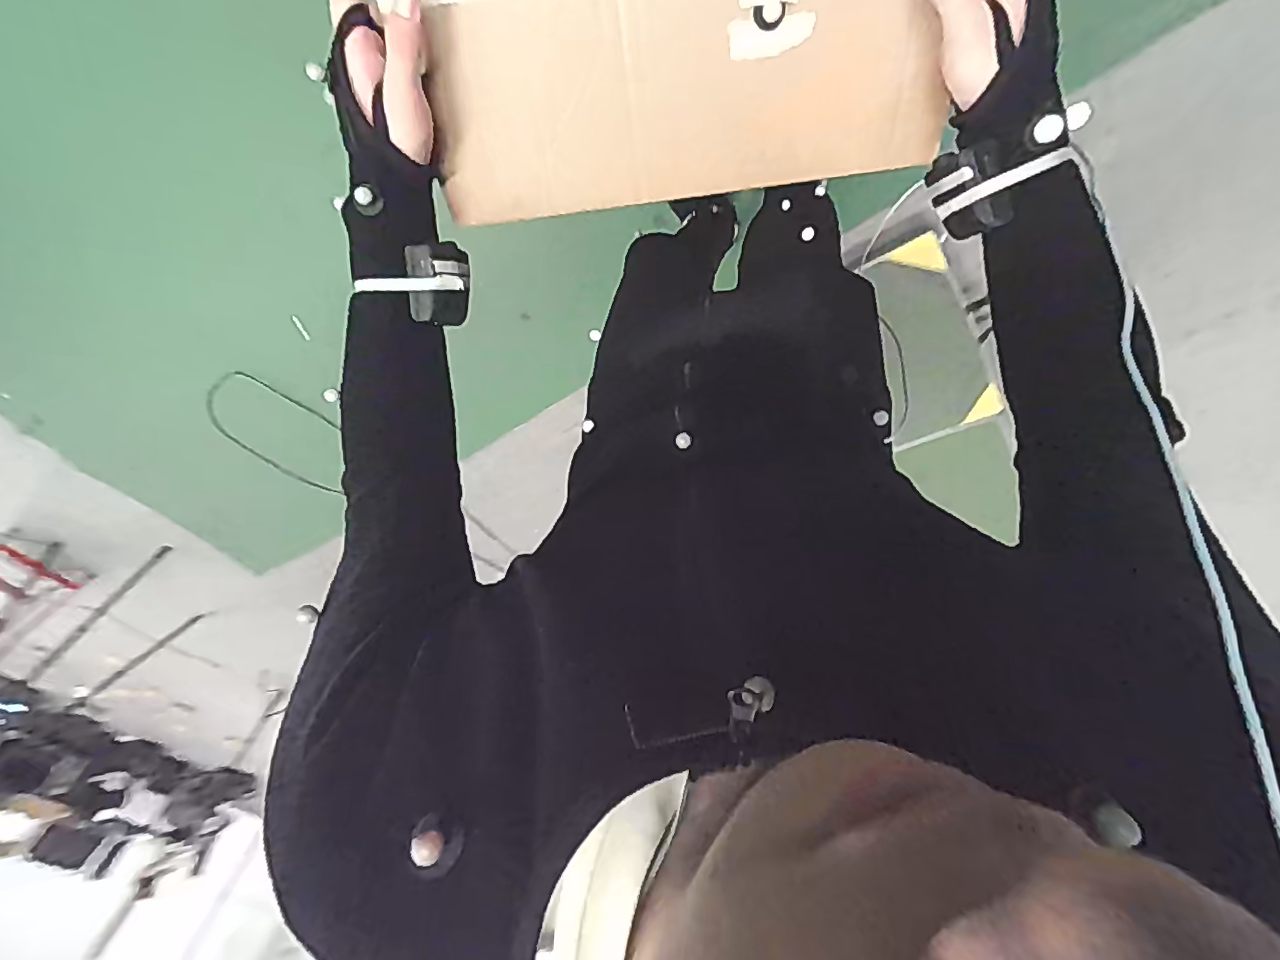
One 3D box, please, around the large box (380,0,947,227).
[{"bbox_3d":[0.010,-0.456,0.473,0.408,0.320,0.320,-6,131,5],"label":"large box"}]
